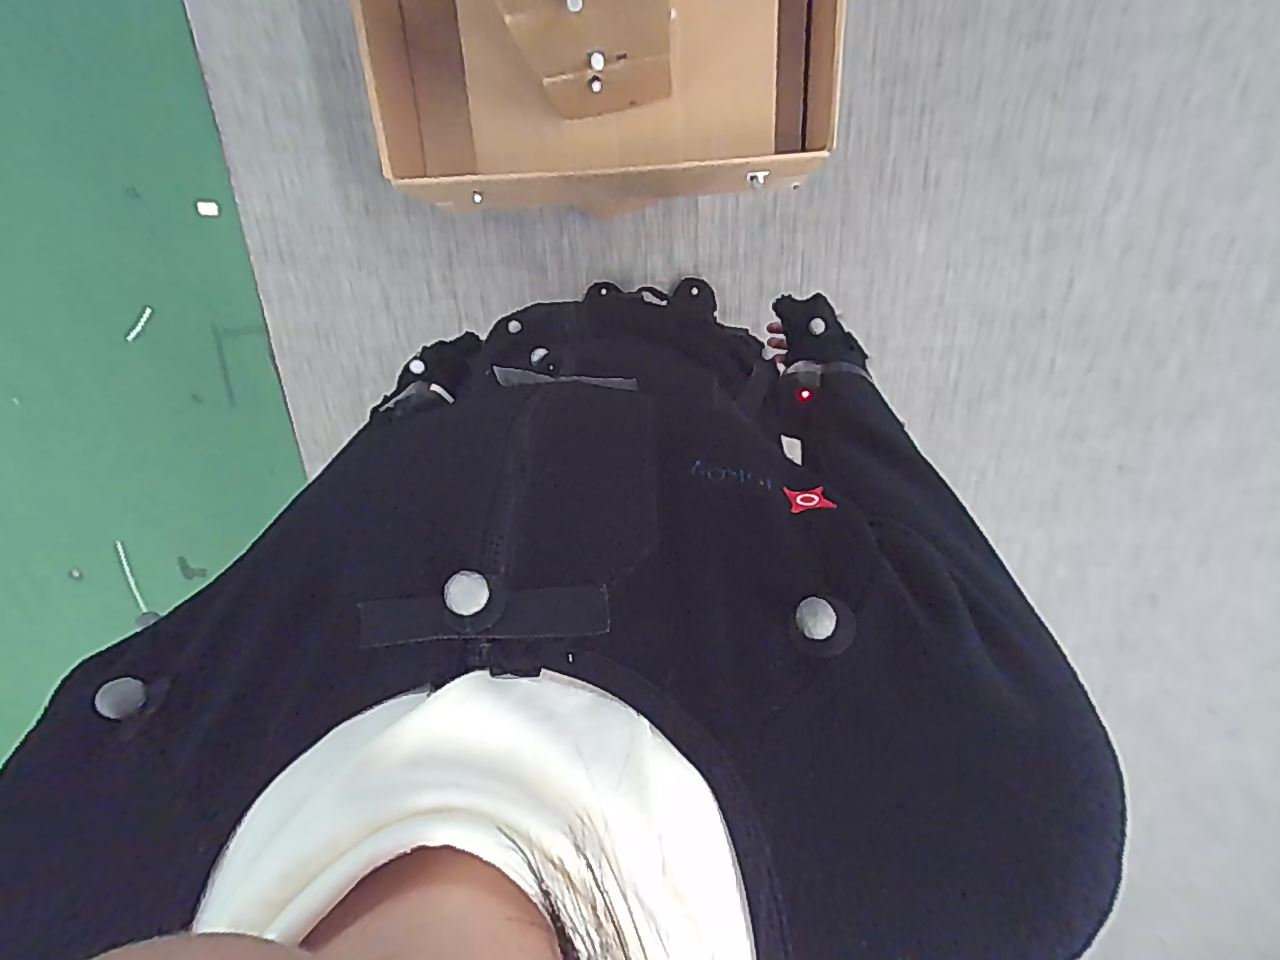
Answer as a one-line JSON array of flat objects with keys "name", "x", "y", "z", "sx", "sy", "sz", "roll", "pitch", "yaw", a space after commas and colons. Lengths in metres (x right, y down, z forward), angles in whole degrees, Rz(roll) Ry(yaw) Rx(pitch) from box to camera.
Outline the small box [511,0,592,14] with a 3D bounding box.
[{"name": "small box", "x": -0.065, "y": -0.510, "z": 0.411, "sx": 0.168, "sy": 0.176, "sz": 0.179, "roll": -6, "pitch": 111, "yaw": 8}]

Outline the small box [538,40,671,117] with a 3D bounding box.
[{"name": "small box", "x": -0.051, "y": -0.619, "z": 0.718, "sx": 0.168, "sy": 0.176, "sz": 0.179, "roll": -7, "pitch": 109, "yaw": 8}]

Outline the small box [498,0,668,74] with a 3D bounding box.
[{"name": "small box", "x": -0.061, "y": -0.566, "z": 0.563, "sx": 0.168, "sy": 0.176, "sz": 0.179, "roll": -6, "pitch": 110, "yaw": 7}]
